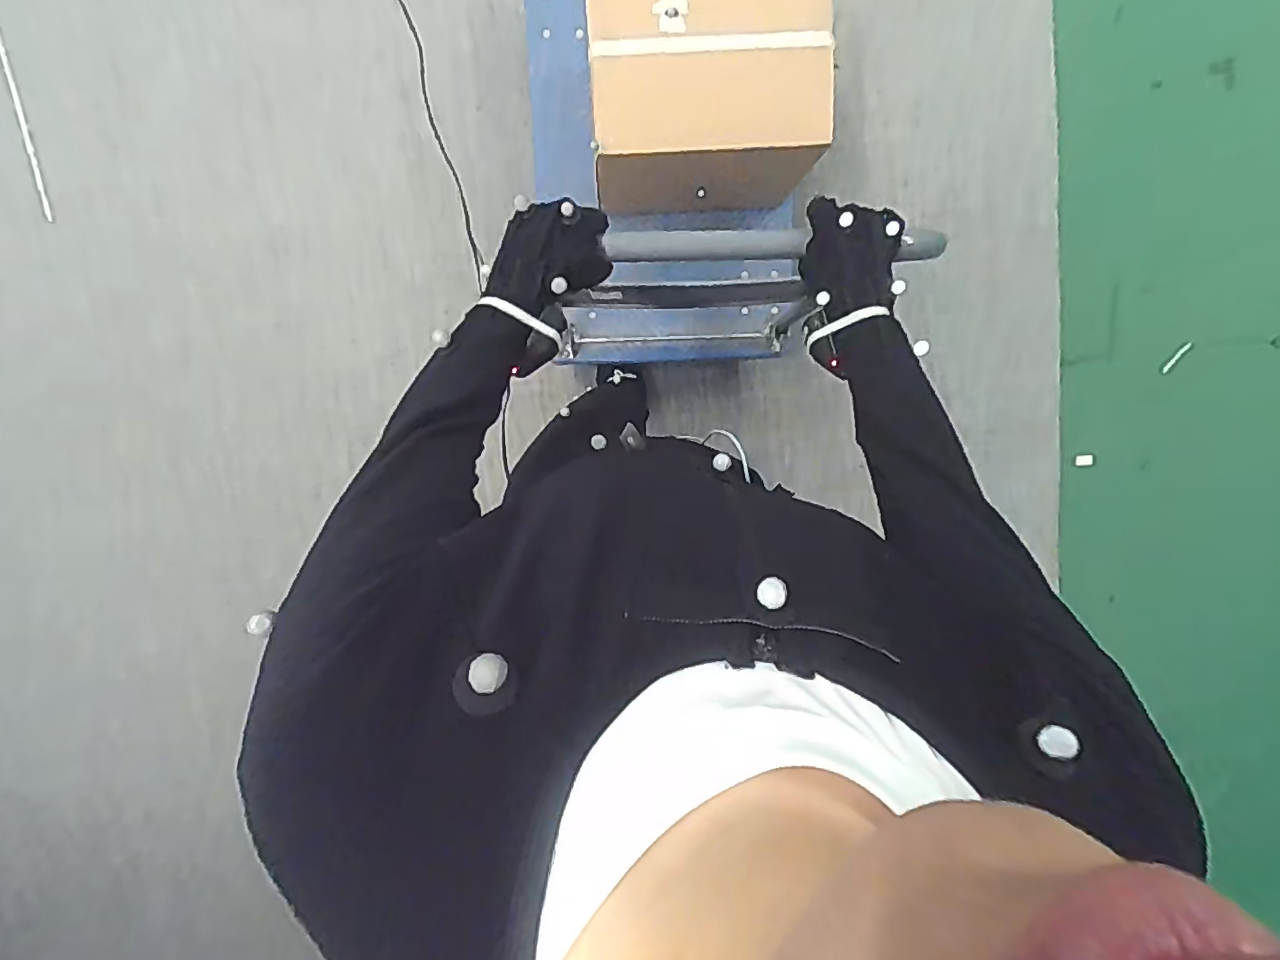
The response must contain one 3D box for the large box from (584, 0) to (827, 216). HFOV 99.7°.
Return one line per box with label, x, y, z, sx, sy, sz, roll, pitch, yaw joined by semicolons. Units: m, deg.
large box;0.112;-0.732;1.051;0.408;0.320;0.320;-4;98;-1
